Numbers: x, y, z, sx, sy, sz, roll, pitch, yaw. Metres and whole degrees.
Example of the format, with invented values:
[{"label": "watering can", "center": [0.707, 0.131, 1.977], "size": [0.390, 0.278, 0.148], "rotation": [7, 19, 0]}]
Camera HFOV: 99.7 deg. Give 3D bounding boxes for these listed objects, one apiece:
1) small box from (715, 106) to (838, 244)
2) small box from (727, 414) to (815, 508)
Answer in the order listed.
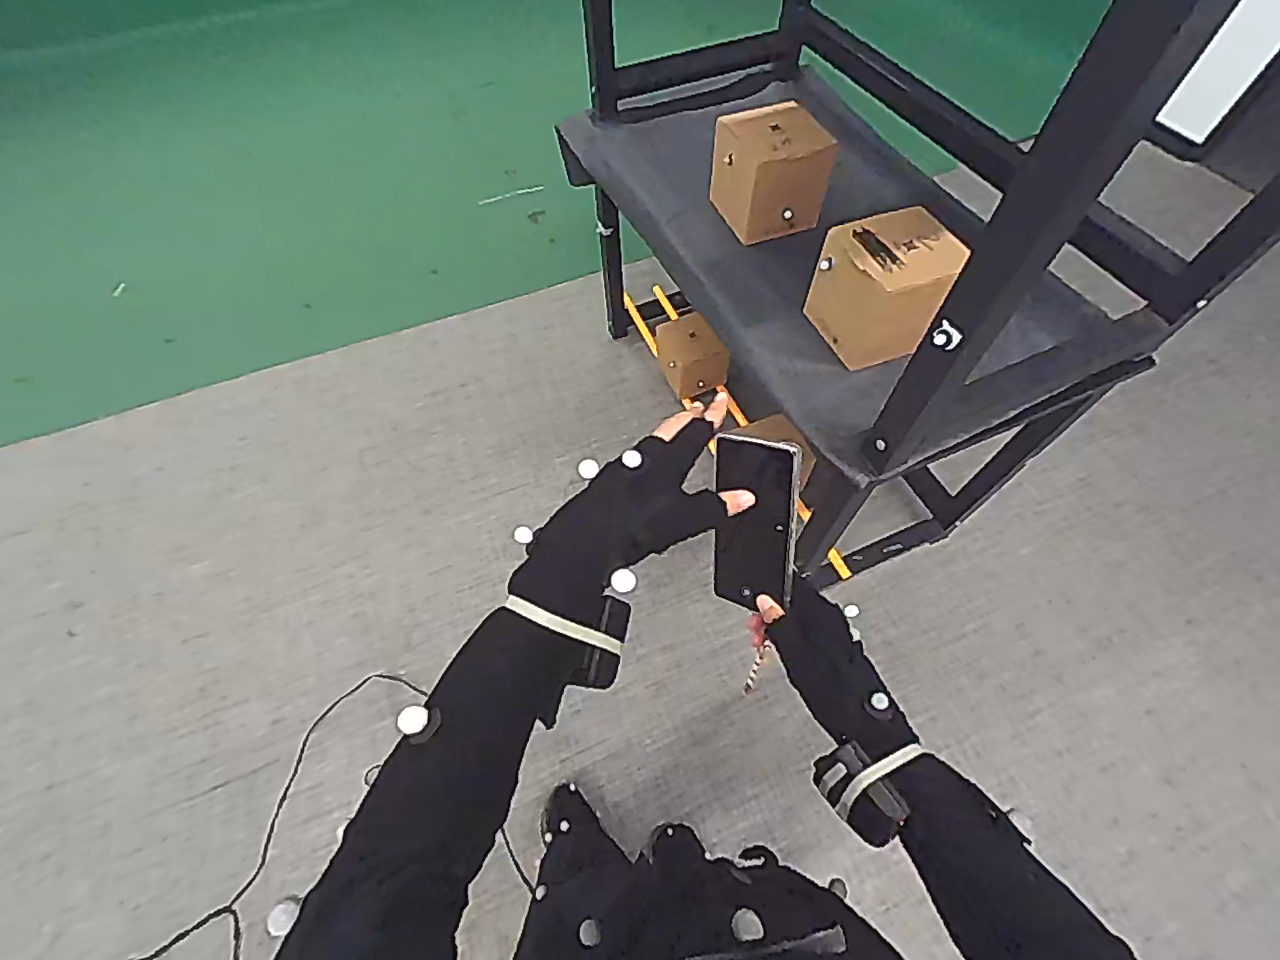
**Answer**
[{"label": "small box", "center": [0.260, -0.607, 1.082], "size": [0.168, 0.176, 0.179], "rotation": [-18, 61, -9]}, {"label": "small box", "center": [0.345, -0.046, 1.471], "size": [0.179, 0.176, 0.168], "rotation": [-18, 61, -9]}]
